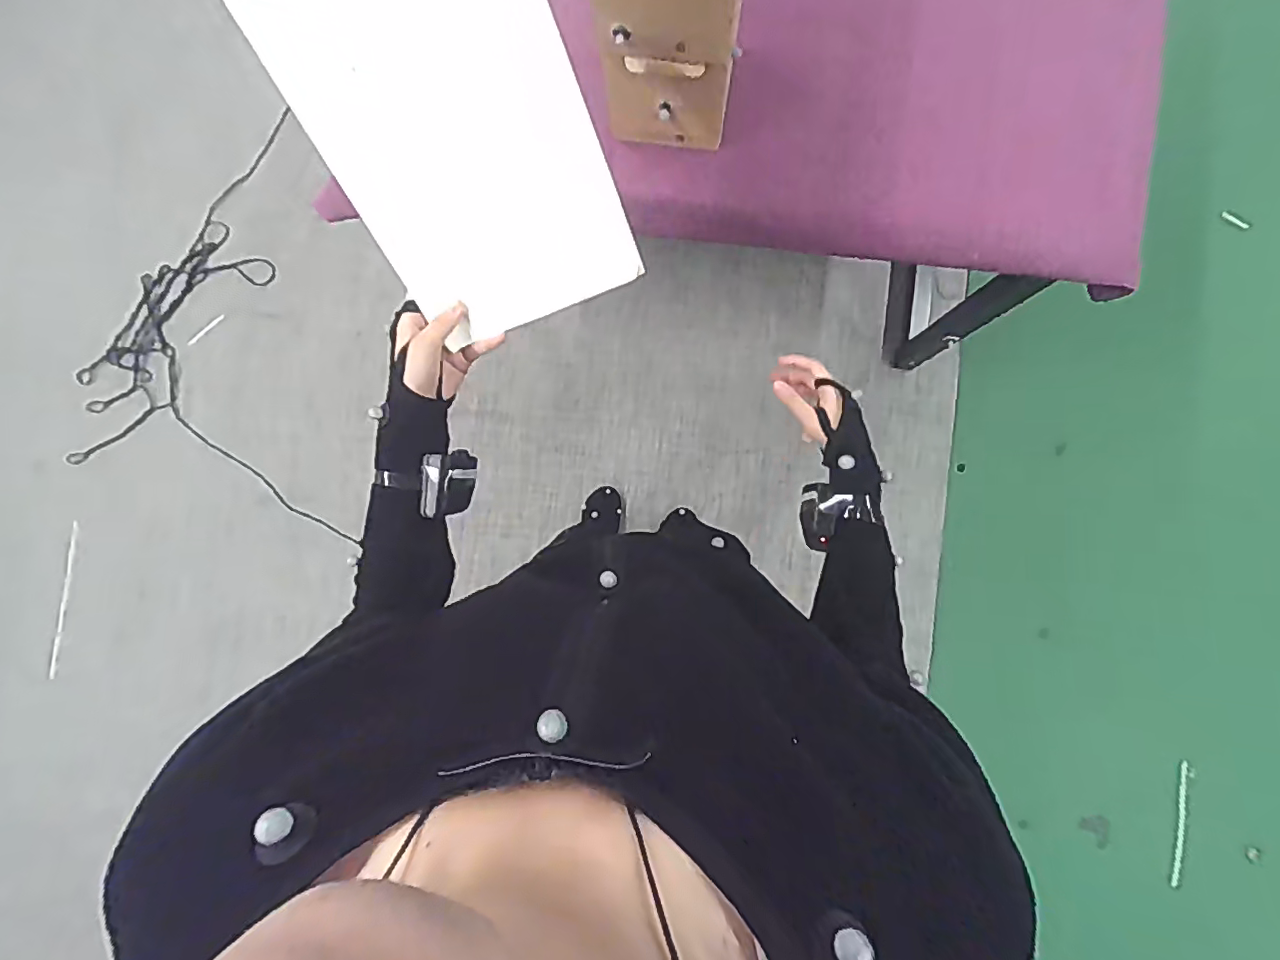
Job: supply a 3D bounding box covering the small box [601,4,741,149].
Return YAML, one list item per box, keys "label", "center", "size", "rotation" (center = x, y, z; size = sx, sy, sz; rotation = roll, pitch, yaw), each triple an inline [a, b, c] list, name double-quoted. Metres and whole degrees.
- label: "small box"
  center: [0.049, -0.605, 0.762]
  size: [0.168, 0.176, 0.179]
  rotation: [9, 87, 4]

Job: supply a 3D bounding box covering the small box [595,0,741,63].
- label: "small box"
  center: [0.039, -0.611, 0.597]
  size: [0.168, 0.176, 0.179]
  rotation: [9, 85, 4]
